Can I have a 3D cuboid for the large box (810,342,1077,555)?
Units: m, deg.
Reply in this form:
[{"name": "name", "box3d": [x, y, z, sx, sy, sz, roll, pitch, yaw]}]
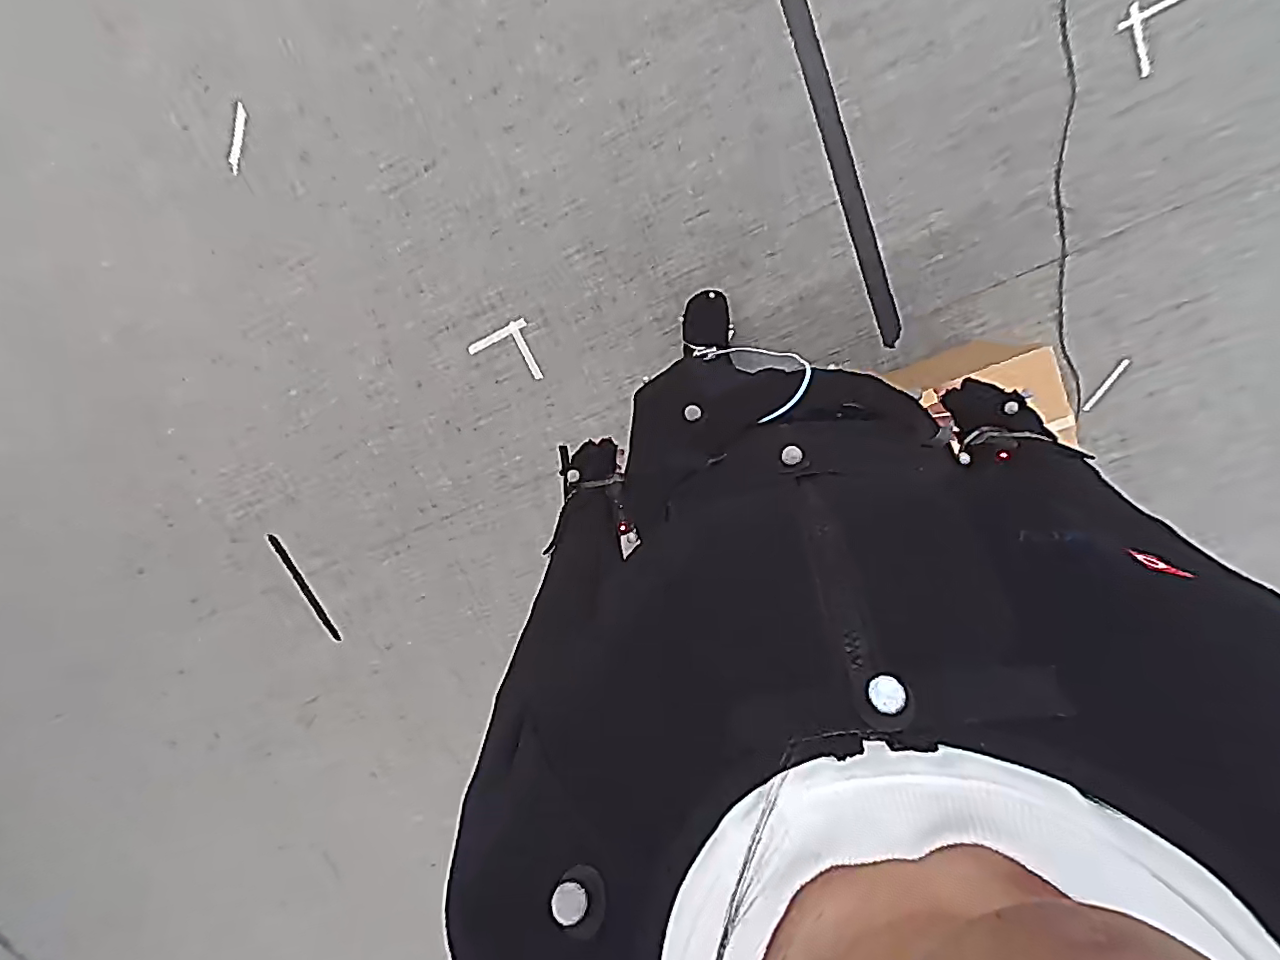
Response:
[{"name": "large box", "box3d": [0.647, -0.086, 1.221, 0.408, 0.320, 0.320, -21, 101, 13]}]
